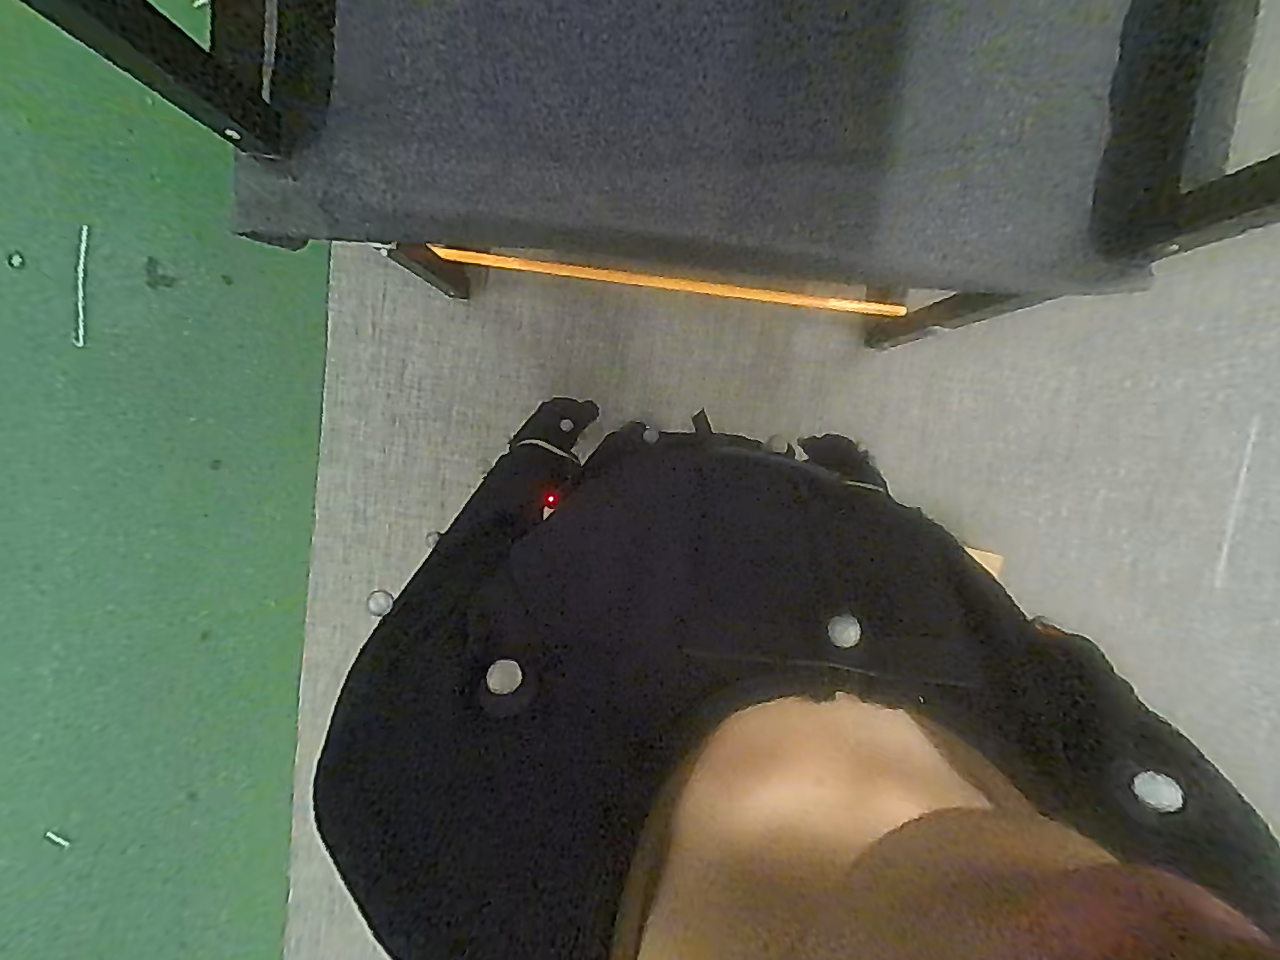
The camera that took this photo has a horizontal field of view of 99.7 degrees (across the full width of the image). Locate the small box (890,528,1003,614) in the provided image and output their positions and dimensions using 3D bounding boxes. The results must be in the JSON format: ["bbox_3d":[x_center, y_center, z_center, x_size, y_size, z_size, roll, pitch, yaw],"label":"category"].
[{"bbox_3d":[0.798,0.232,1.424,0.179,0.176,0.168,13,96,0],"label":"small box"}]
